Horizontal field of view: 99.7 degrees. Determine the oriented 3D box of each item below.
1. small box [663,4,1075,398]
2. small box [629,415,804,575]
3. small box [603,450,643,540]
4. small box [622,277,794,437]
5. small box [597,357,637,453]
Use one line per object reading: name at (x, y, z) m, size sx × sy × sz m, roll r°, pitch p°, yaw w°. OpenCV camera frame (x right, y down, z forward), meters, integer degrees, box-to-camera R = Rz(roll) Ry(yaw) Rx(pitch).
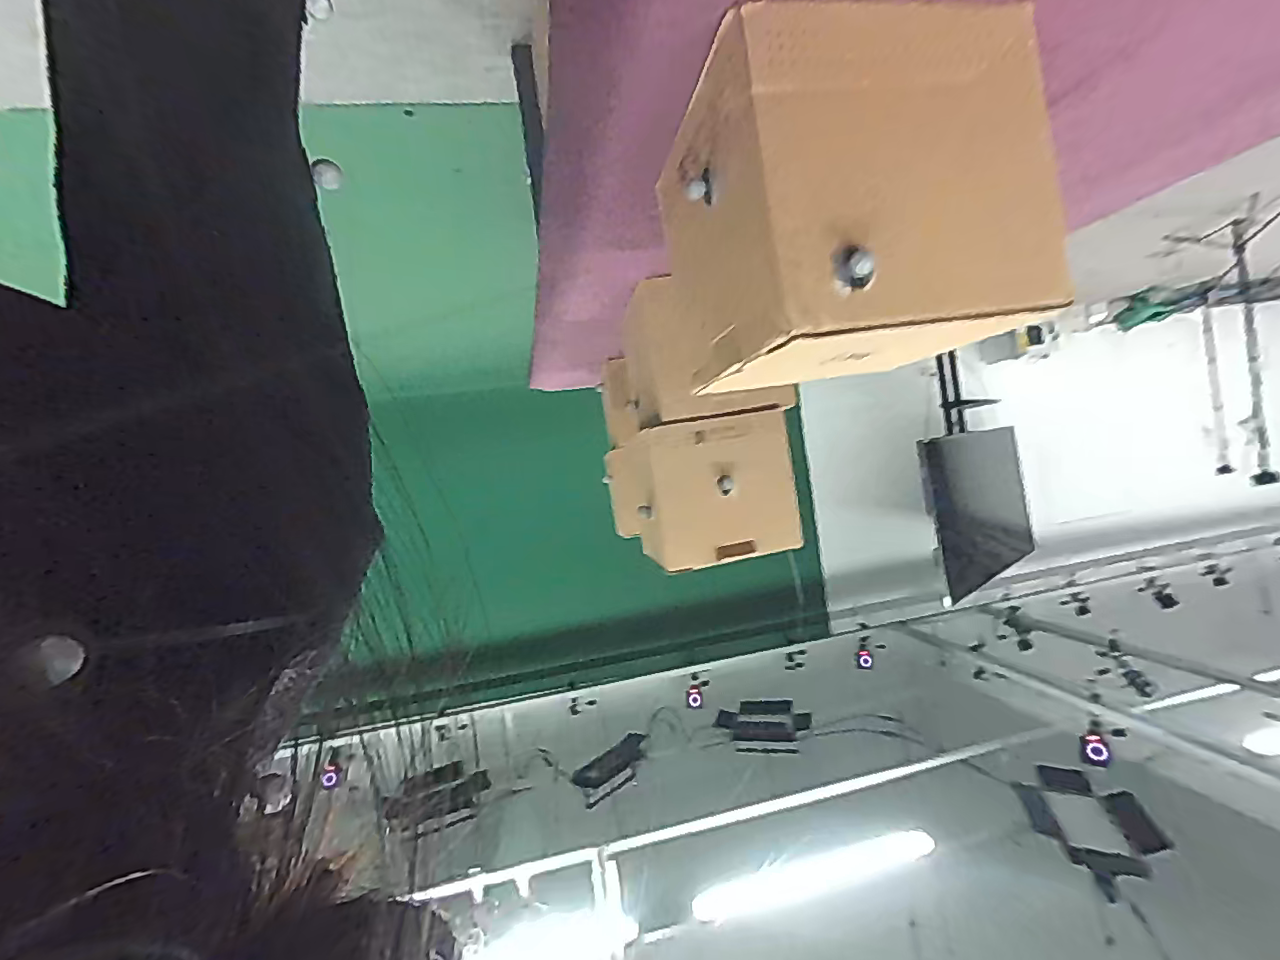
small box at (0.125, -0.157, 0.349) m, size 0.179 × 0.176 × 0.168 m, roll -9°, pitch -179°, yaw -11°
small box at (0.084, 0.012, 0.692) m, size 0.168 × 0.176 × 0.179 m, roll -9°, pitch 180°, yaw -8°
small box at (0.031, 0.015, 1.075) m, size 0.179 × 0.176 × 0.168 m, roll -9°, pitch 179°, yaw -8°
small box at (0.076, -0.152, 0.697) m, size 0.168 × 0.176 × 0.179 m, roll -10°, pitch -179°, yaw -10°
small box at (0.020, -0.149, 1.059) m, size 0.179 × 0.176 × 0.168 m, roll -9°, pitch 179°, yaw -8°
